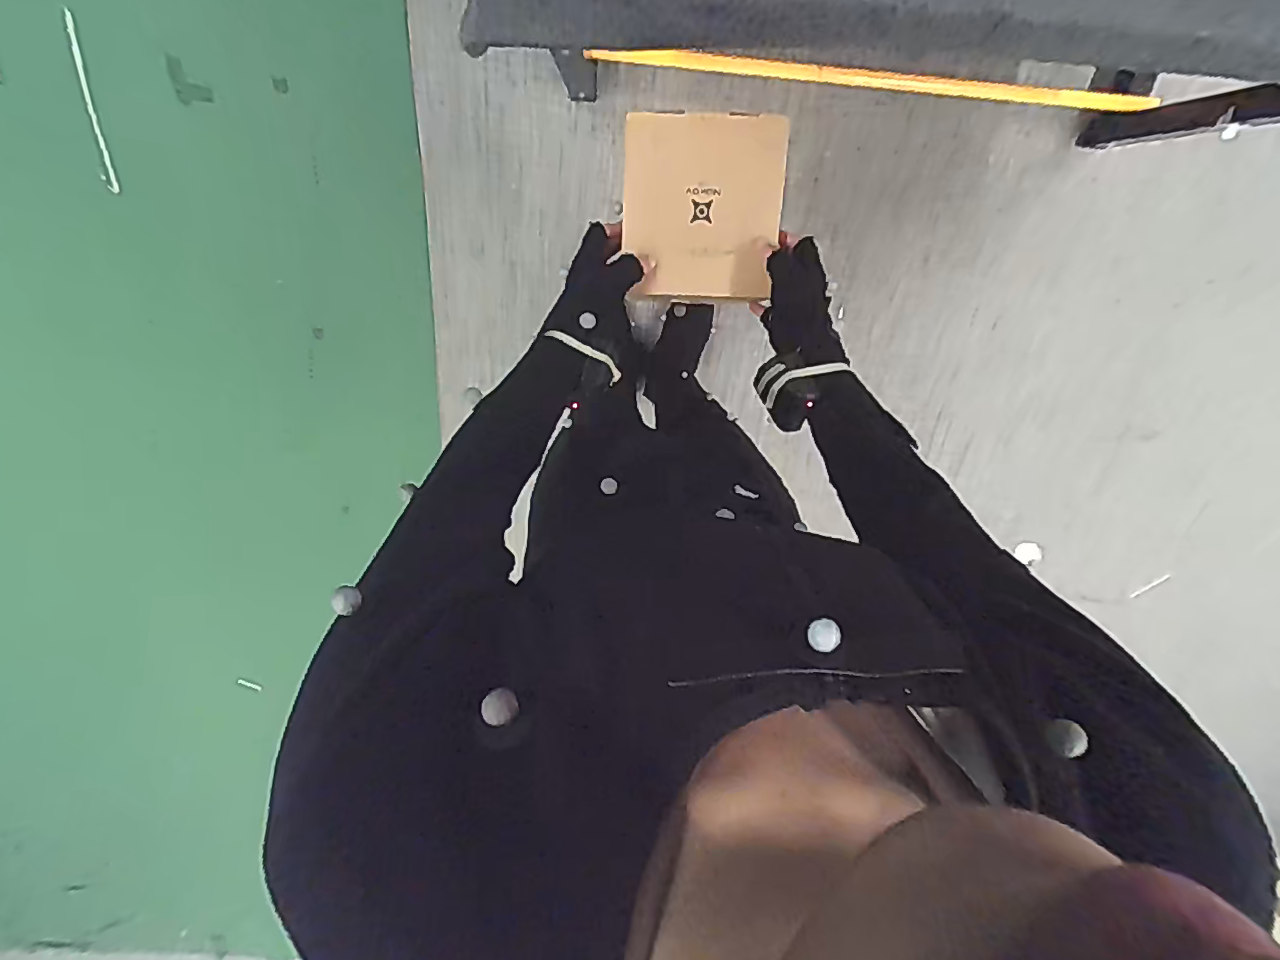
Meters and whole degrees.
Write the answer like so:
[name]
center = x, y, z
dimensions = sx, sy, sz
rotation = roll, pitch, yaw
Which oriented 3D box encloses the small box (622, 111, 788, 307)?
[small box]
center = 0.068, -0.304, 0.640
dimensions = 0.168, 0.176, 0.179
rotation = 2, 106, 2
